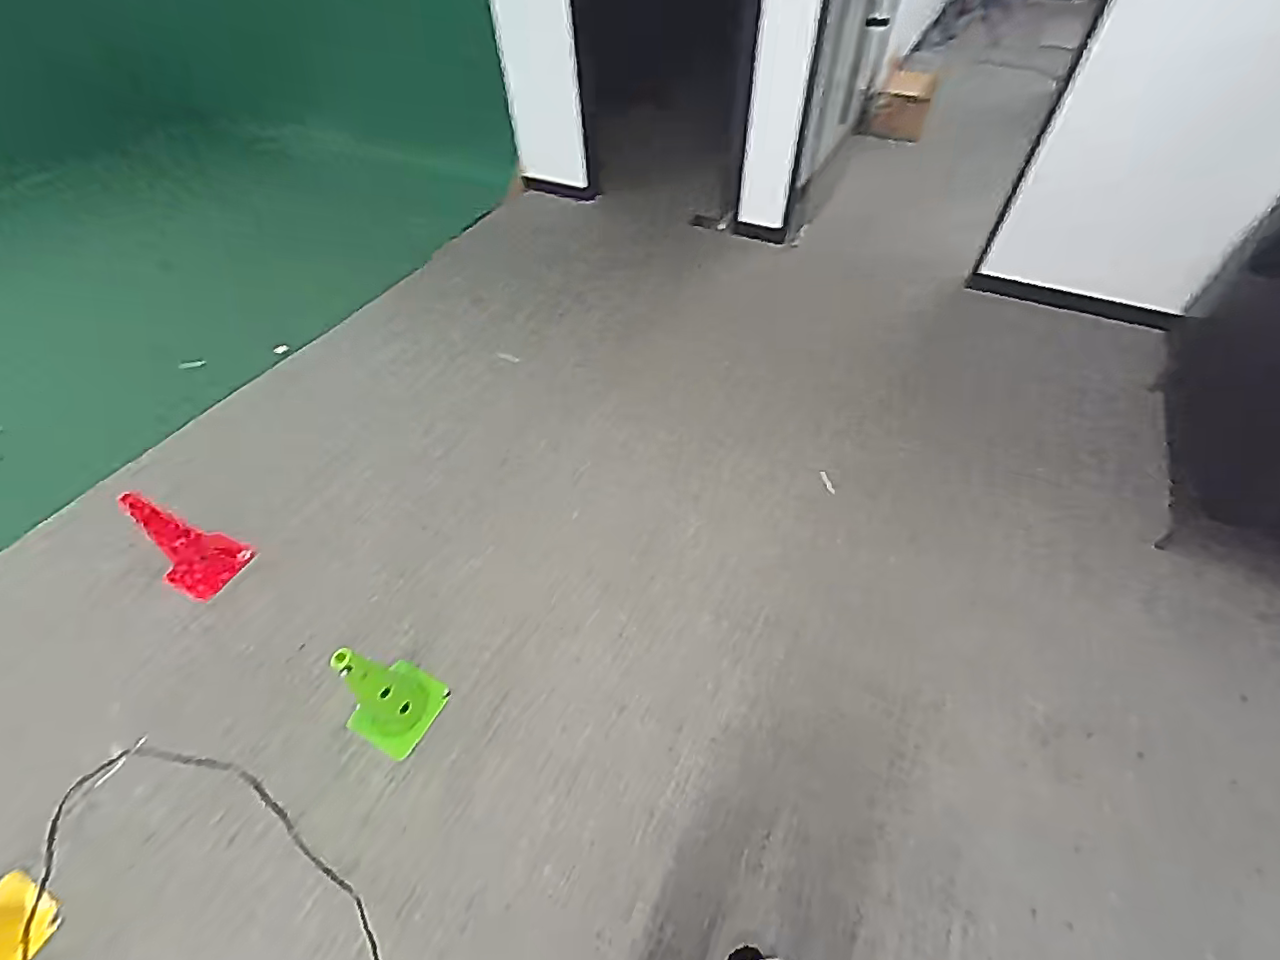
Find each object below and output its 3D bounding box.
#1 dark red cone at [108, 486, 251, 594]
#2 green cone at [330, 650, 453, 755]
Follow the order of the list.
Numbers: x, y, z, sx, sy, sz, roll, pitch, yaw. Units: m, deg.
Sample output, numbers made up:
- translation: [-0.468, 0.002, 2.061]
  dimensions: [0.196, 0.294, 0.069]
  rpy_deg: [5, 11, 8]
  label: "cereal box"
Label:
- translation: [-1.361, 0.149, 1.566]
  dimensions: [0.201, 0.394, 0.202]
  rpy_deg: [17, 54, 17]
  label: "dark red cone"
- translation: [-0.633, 0.486, 1.295]
  dimensions: [0.200, 0.368, 0.202]
  rpy_deg: [20, 56, 18]
  label: "green cone"
